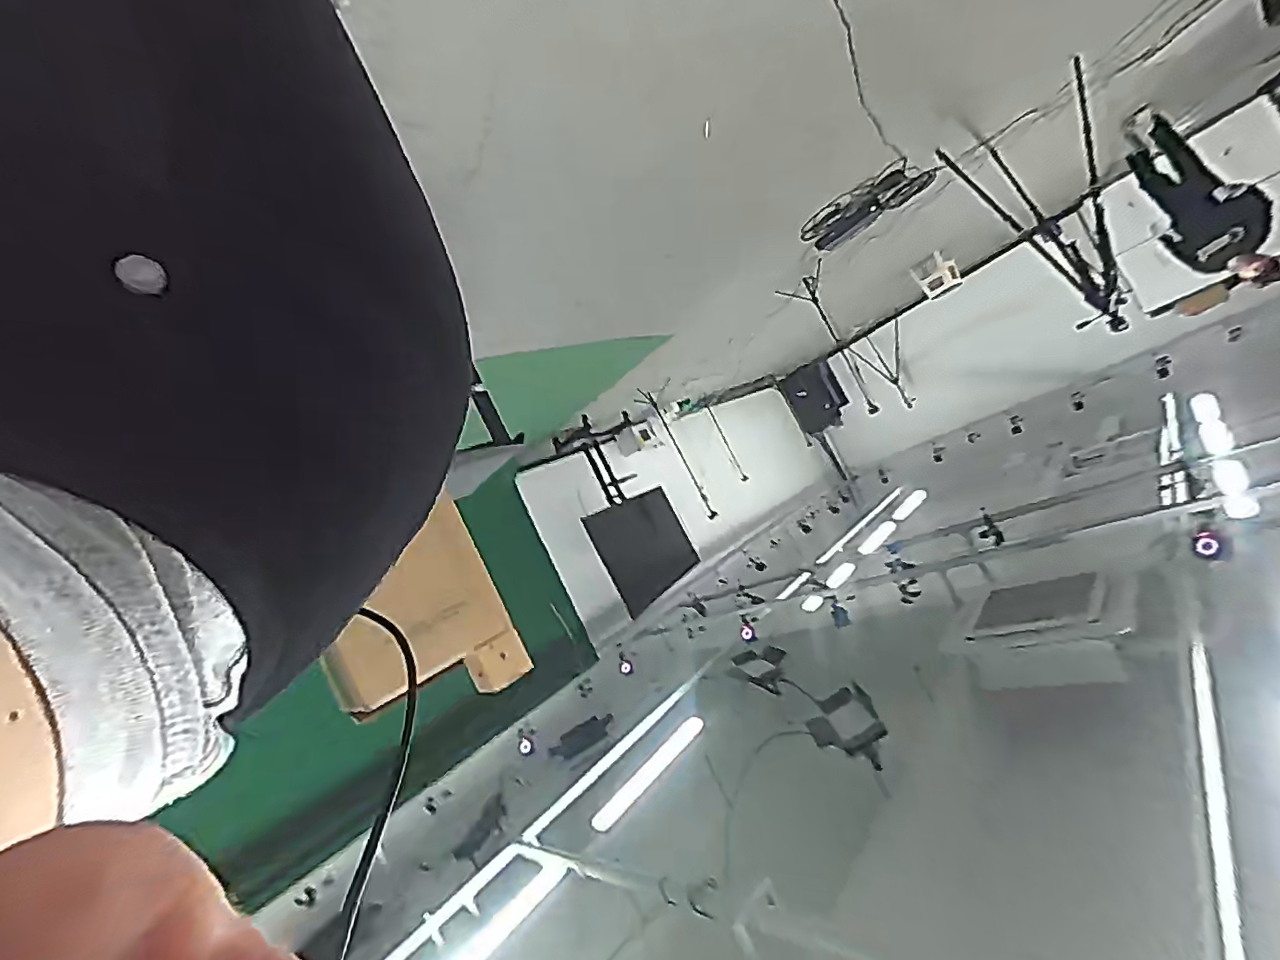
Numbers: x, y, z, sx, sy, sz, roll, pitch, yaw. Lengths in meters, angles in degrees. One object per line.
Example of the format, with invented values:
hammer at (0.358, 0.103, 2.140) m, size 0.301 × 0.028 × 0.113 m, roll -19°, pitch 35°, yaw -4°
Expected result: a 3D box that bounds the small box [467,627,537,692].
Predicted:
small box at (-0.521, 0.667, 2.022) m, size 0.168 × 0.176 × 0.179 m, roll -25°, pitch 176°, yaw -40°
